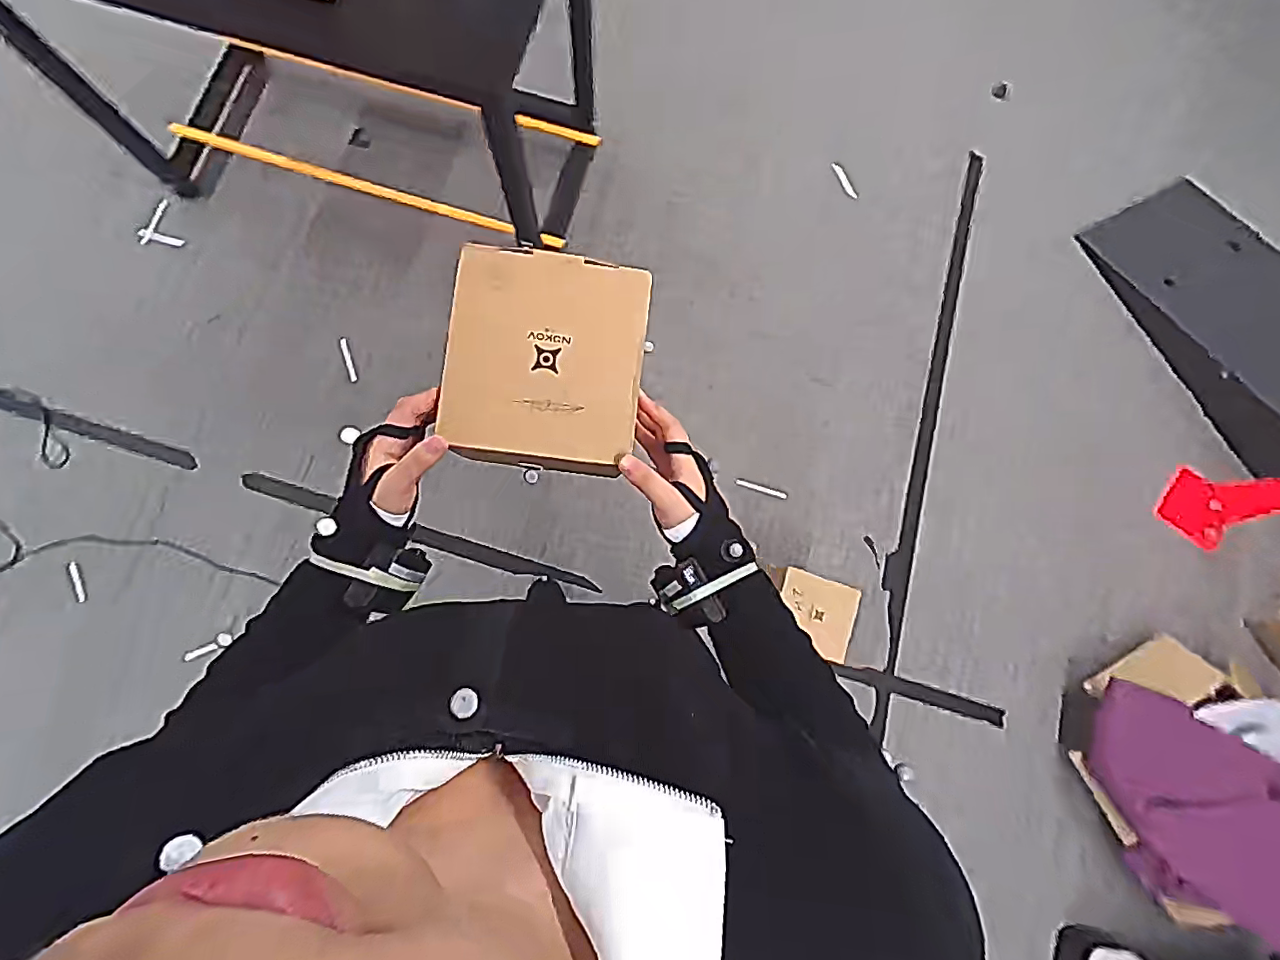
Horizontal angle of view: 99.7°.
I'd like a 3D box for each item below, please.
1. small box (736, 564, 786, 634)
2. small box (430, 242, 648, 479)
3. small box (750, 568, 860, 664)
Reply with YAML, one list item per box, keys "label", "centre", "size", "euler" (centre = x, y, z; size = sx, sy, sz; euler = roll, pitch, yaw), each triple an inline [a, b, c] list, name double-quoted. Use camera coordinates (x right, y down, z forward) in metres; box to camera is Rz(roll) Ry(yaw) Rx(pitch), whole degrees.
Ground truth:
- label: "small box"
  centre: [0.369, 0.334, 1.434]
  size: [0.168, 0.176, 0.179]
  euler: [20, 80, 1]
- label: "small box"
  centre: [-0.092, -0.100, 0.535]
  size: [0.168, 0.176, 0.179]
  euler: [6, 86, -6]
- label: "small box"
  centre: [0.380, 0.312, 1.270]
  size: [0.179, 0.176, 0.168]
  euler: [20, 79, 1]
